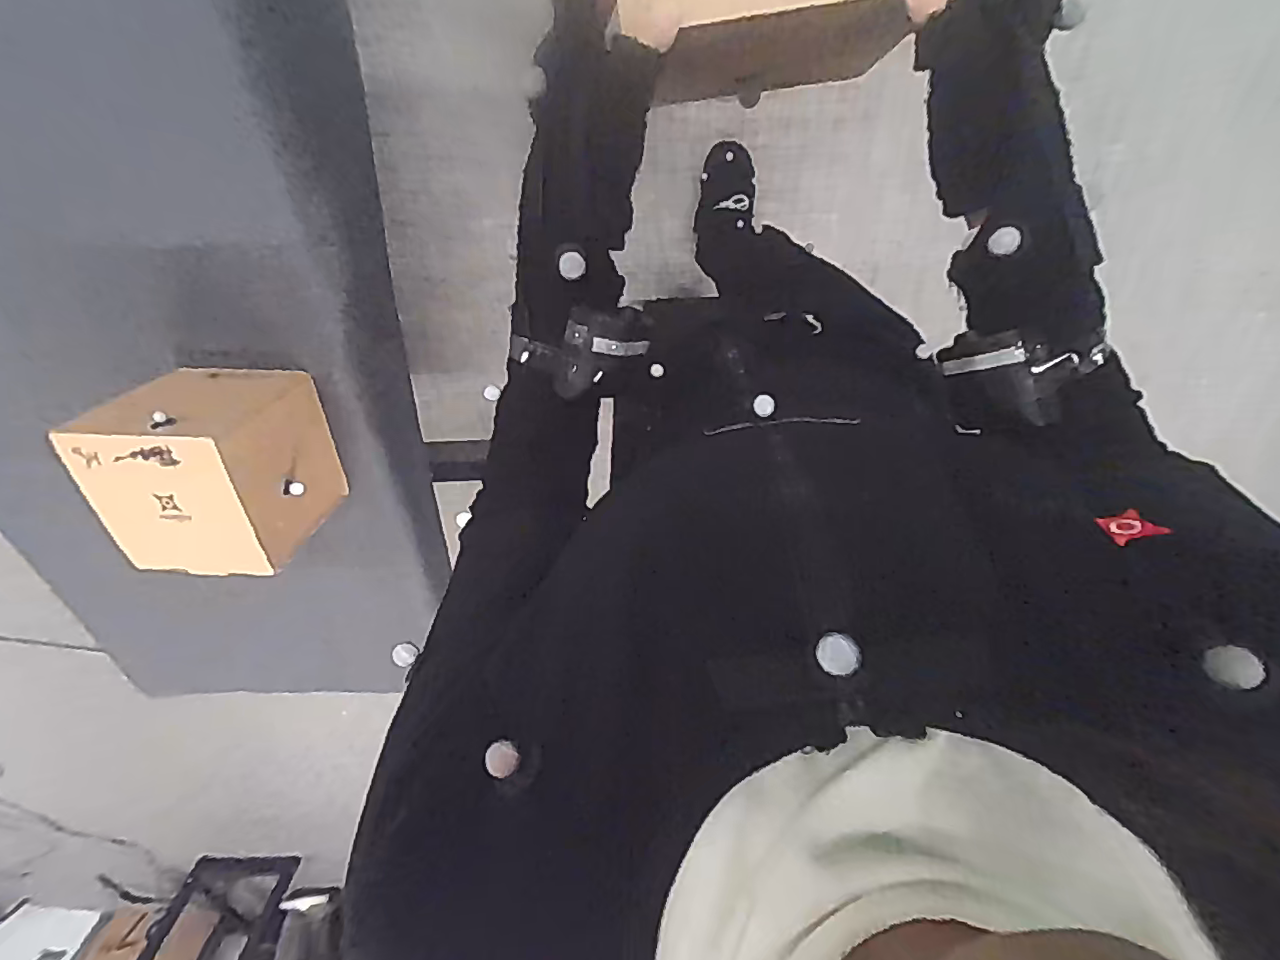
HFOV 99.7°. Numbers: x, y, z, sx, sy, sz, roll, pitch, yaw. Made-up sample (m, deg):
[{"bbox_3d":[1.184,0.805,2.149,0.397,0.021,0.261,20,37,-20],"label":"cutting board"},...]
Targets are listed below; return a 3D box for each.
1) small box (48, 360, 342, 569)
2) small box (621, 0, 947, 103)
[{"bbox_3d":[-0.480,-0.022,0.624,0.168,0.176,0.179,3,123,2],"label":"small box"},{"bbox_3d":[0.071,-0.339,0.301,0.168,0.176,0.179,-3,114,6],"label":"small box"}]
